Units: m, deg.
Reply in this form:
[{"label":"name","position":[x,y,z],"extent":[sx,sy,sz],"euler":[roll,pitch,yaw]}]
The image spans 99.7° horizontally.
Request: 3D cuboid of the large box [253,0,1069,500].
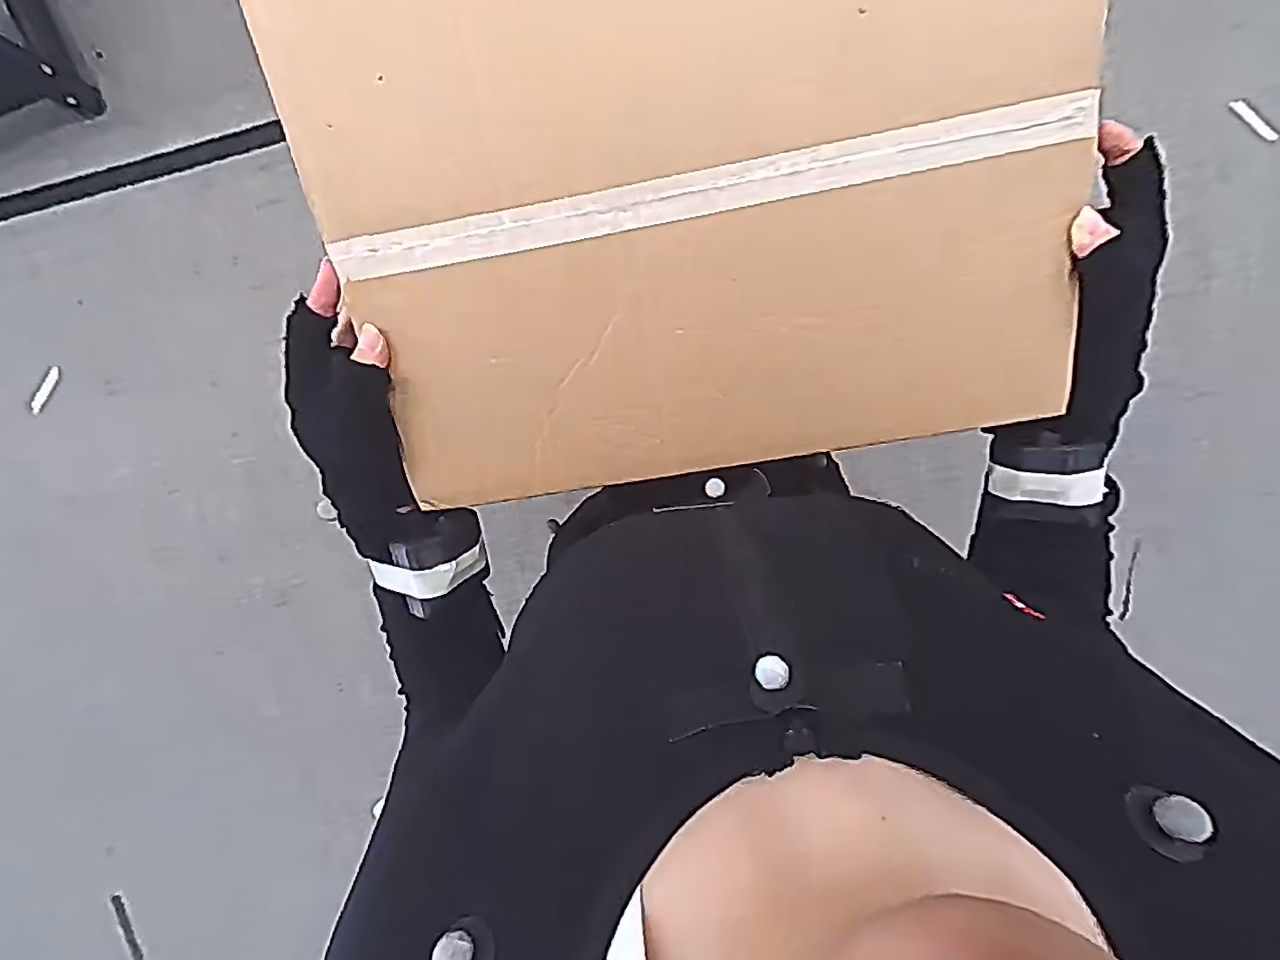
[{"label":"large box","position":[0.027,-0.212,0.438],"extent":[0.408,0.320,0.320],"euler":[-9,110,4]}]
